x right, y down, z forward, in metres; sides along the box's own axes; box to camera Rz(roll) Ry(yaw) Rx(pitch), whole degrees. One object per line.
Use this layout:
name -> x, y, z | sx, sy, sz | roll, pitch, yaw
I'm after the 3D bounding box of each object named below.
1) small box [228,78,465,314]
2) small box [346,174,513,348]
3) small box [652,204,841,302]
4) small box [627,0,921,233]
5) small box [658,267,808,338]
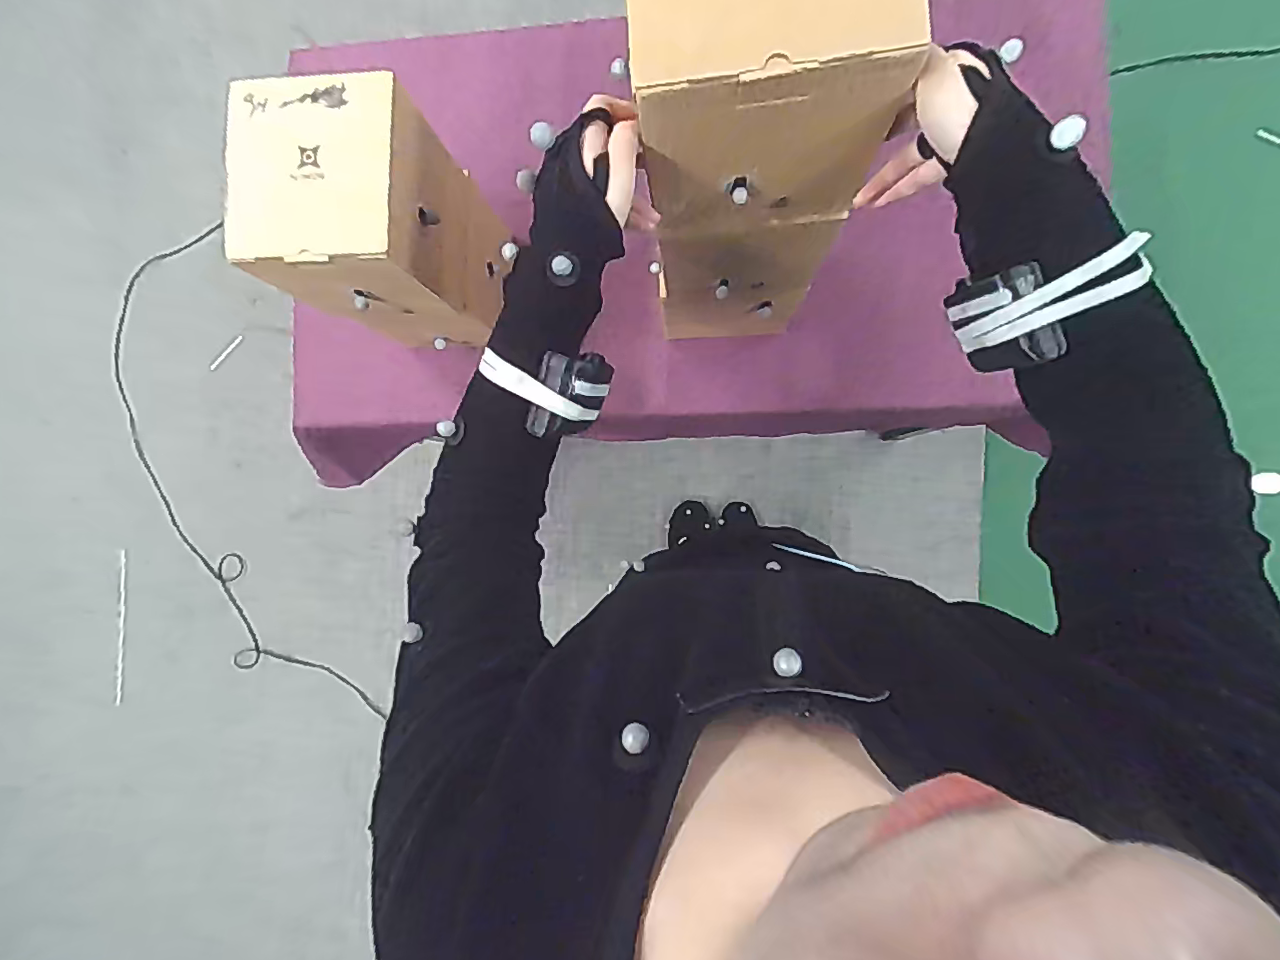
small box -> -0.302, -0.288, 0.589 | 0.168, 0.176, 0.179 | 1, 89, 5
small box -> -0.283, -0.292, 0.752 | 0.168, 0.176, 0.179 | 1, 89, 5
small box -> 0.097, -0.300, 0.553 | 0.168, 0.176, 0.179 | -2, 89, 6
small box -> 0.079, -0.309, 0.391 | 0.168, 0.176, 0.179 | -5, 89, 6
small box -> 0.114, -0.293, 0.715 | 0.179, 0.176, 0.168 | -1, 88, 5
